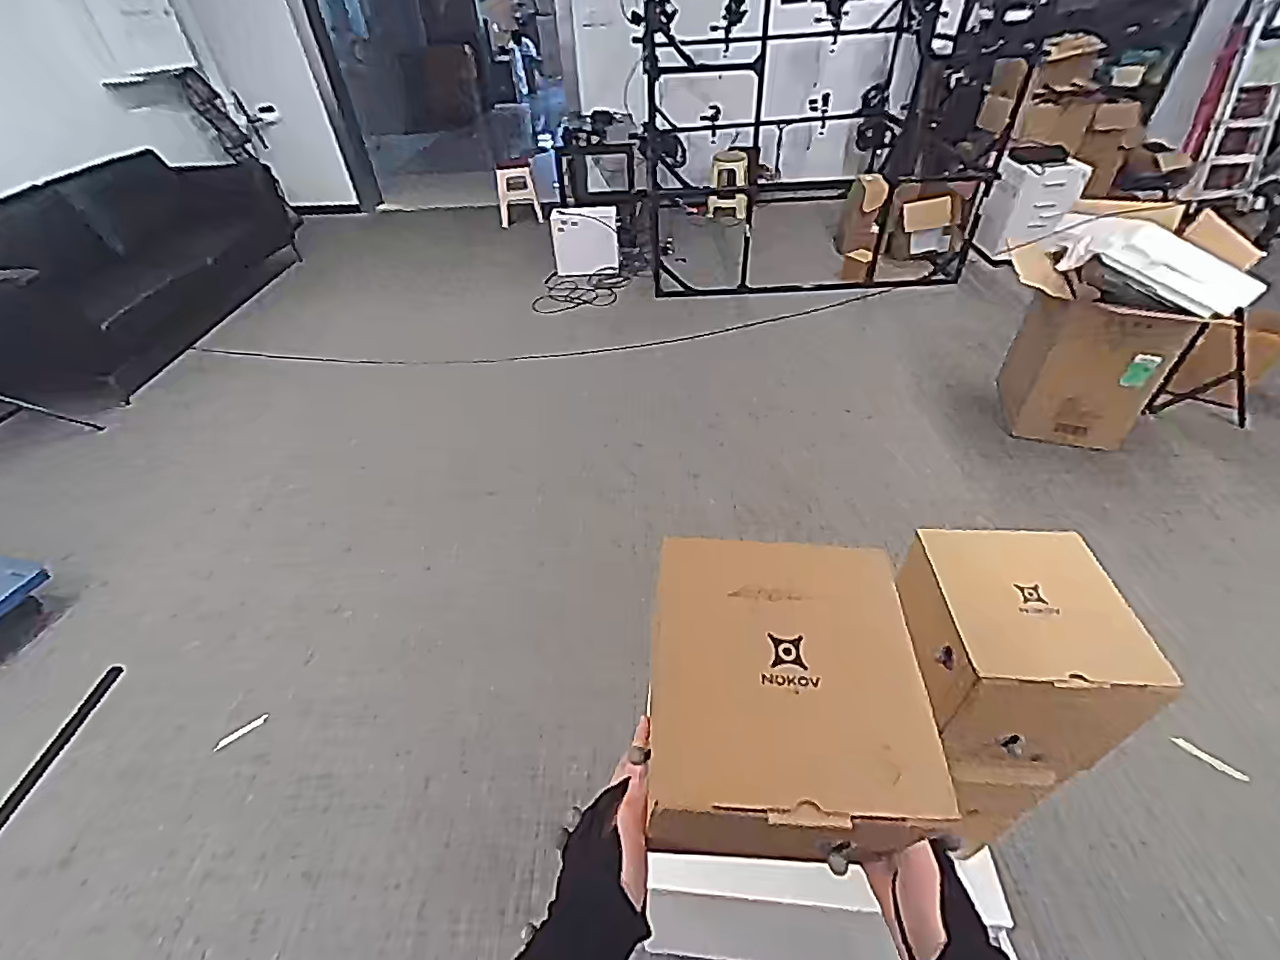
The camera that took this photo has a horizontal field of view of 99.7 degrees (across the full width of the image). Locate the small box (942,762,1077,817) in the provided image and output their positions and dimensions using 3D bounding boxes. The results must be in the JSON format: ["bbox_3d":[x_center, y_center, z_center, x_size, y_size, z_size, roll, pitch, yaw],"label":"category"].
[{"bbox_3d":[0.377,0.295,0.671,0.168,0.176,0.179,1,41,5],"label":"small box"}]

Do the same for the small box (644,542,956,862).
[{"bbox_3d":[0.090,0.167,0.401,0.168,0.176,0.179,3,49,1],"label":"small box"}]

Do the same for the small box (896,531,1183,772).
[{"bbox_3d":[0.371,0.175,0.562,0.168,0.176,0.179,1,42,5],"label":"small box"}]
